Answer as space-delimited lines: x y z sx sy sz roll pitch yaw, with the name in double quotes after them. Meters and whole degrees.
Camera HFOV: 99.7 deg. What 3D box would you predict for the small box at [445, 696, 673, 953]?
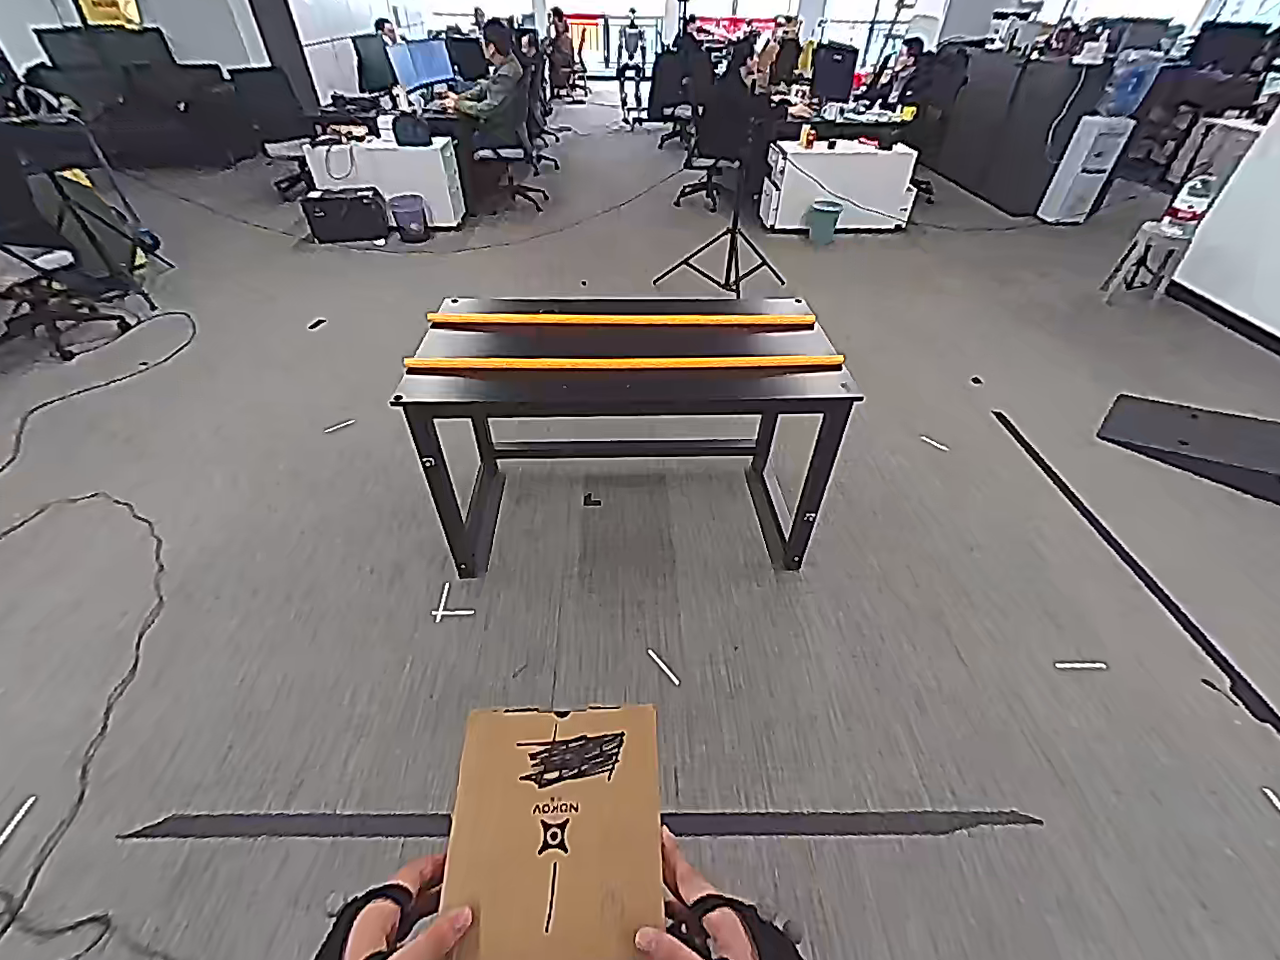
-0.061 0.315 0.497 0.168 0.176 0.179 -2 52 -2 "small box"
